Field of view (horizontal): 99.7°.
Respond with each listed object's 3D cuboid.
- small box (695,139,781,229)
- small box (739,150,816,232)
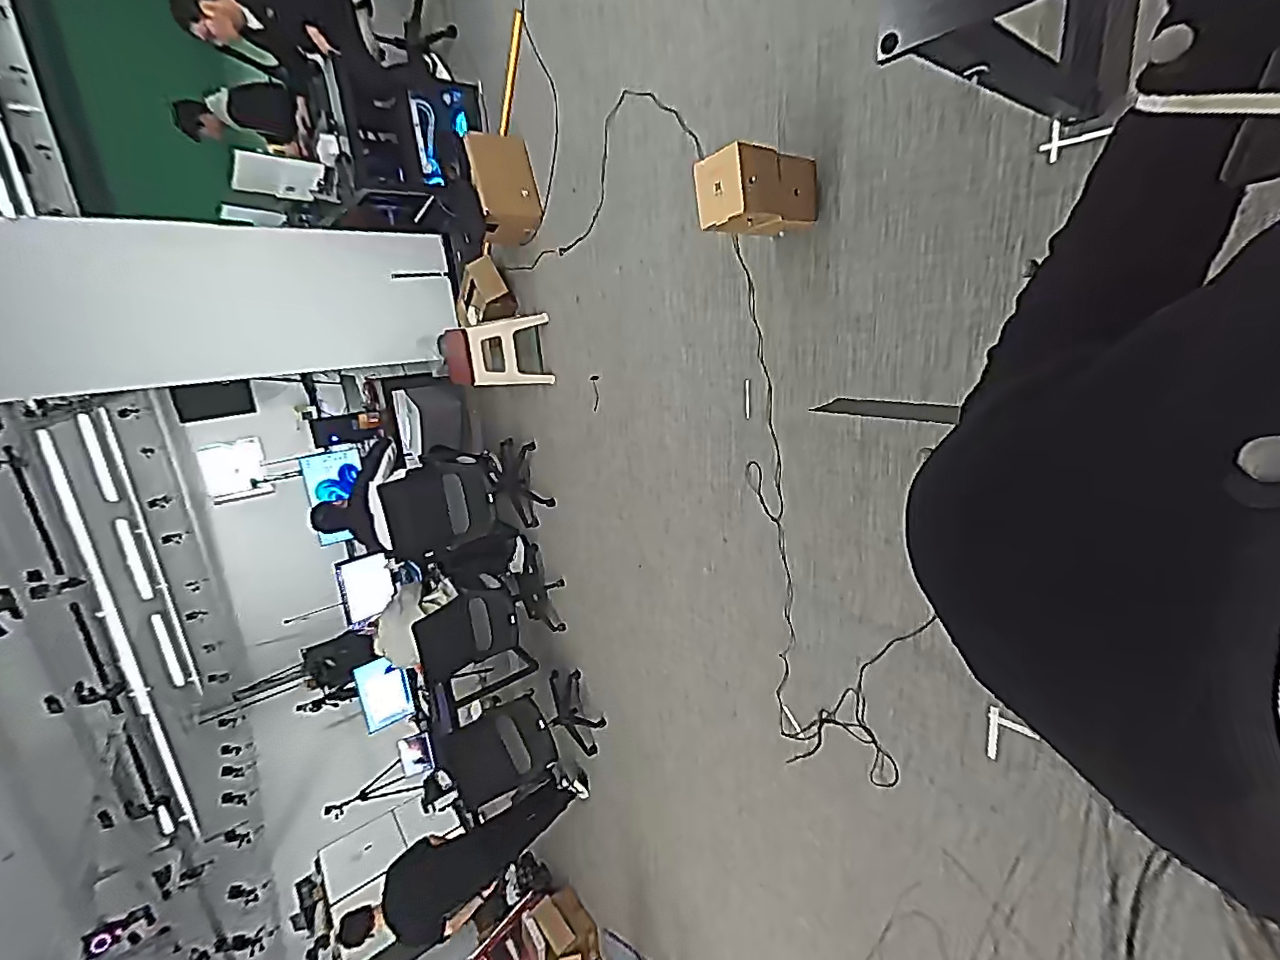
[{"bbox_3d":[0.278,-0.816,1.511,0.168,0.176,0.179,5,106,52],"label":"small box"},{"bbox_3d":[0.406,-0.848,1.605,0.168,0.176,0.179,11,113,52],"label":"small box"}]
